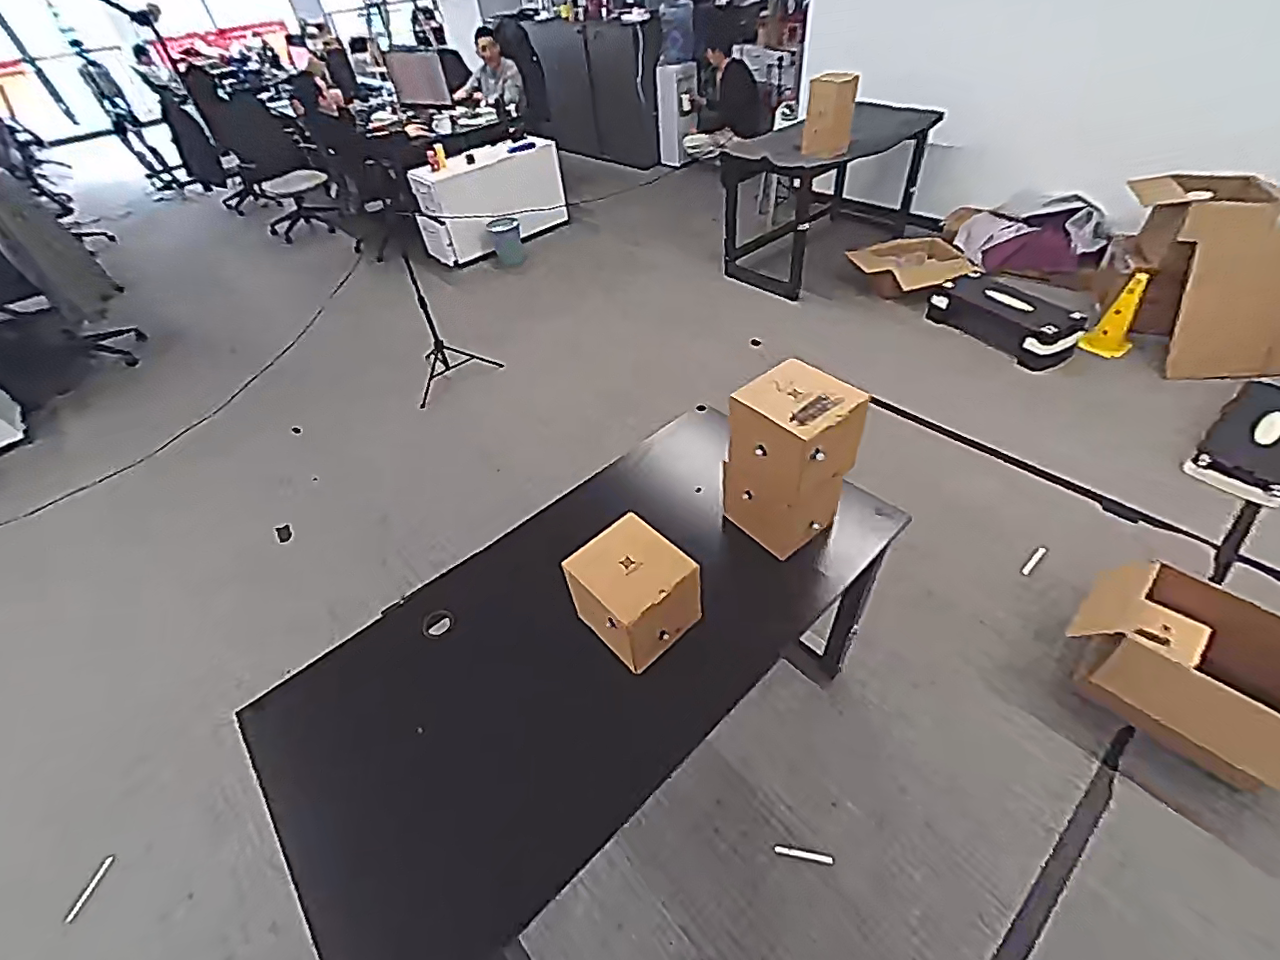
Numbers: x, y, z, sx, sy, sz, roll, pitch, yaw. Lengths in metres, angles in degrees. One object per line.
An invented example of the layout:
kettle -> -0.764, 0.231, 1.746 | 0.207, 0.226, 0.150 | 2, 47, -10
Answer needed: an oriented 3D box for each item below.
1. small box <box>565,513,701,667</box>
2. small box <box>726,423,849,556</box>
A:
small box -> -0.008, 0.198, 0.968 | 0.168, 0.176, 0.179 | -36, 52, -25
small box -> 0.291, 0.020, 1.100 | 0.168, 0.176, 0.179 | -32, 50, -21
